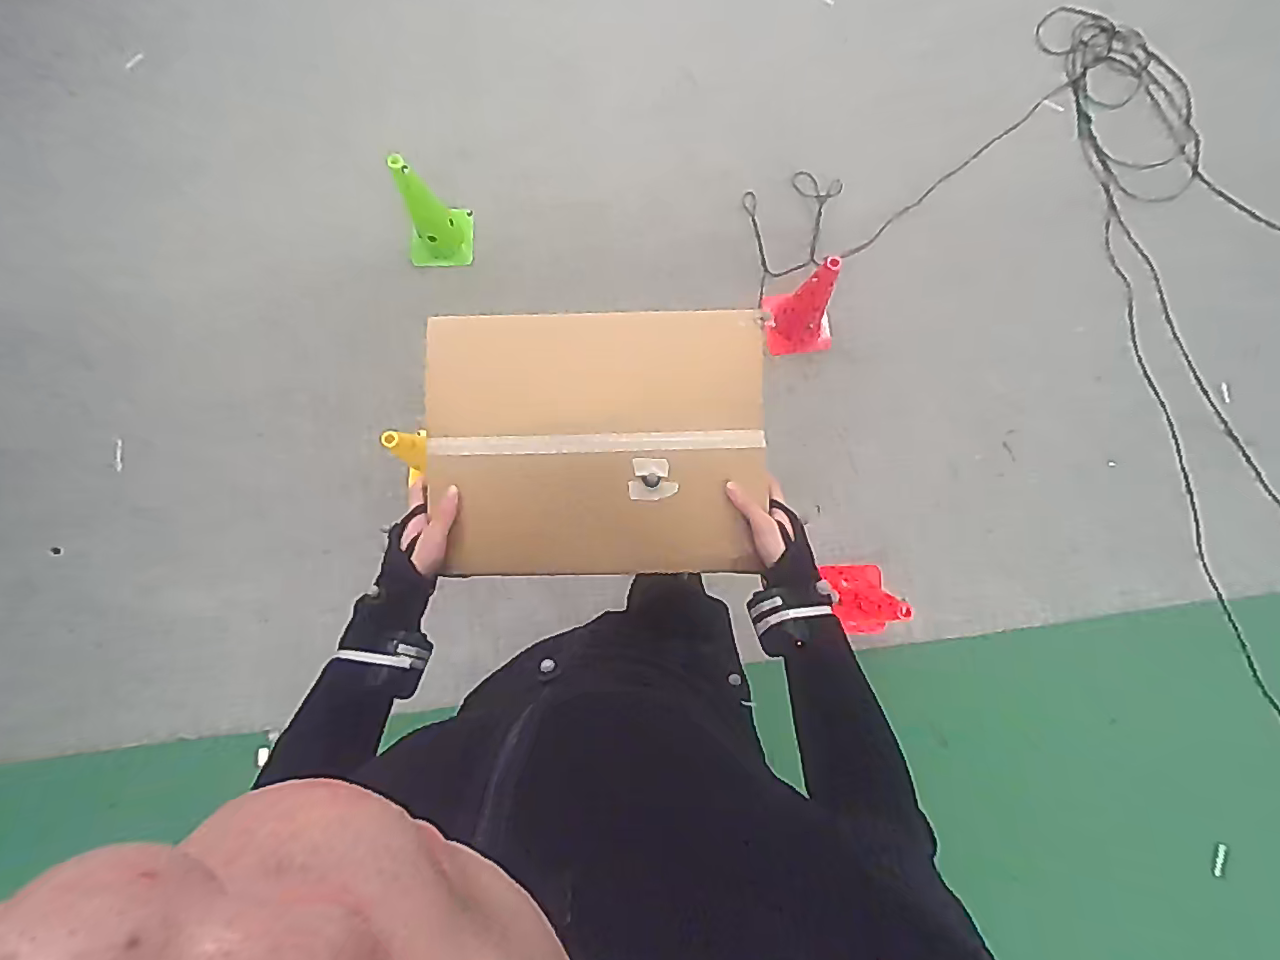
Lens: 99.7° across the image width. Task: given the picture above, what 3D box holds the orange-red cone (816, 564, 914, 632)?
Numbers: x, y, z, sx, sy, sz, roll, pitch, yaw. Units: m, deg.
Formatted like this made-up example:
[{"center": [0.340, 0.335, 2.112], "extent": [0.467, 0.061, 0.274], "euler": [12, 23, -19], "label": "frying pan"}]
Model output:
[{"center": [0.622, 0.329, 1.431], "extent": [0.199, 0.360, 0.198], "euler": [0, 83, -1], "label": "orange-red cone"}]

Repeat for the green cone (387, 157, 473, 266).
[{"center": [-0.650, -0.819, 1.603], "extent": [0.200, 0.368, 0.202], "euler": [-2, 84, 1], "label": "green cone"}]

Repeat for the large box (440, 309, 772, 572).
[{"center": [-0.043, -0.044, 0.805], "extent": [0.408, 0.320, 0.320], "euler": [-1, 89, 0], "label": "large box"}]
